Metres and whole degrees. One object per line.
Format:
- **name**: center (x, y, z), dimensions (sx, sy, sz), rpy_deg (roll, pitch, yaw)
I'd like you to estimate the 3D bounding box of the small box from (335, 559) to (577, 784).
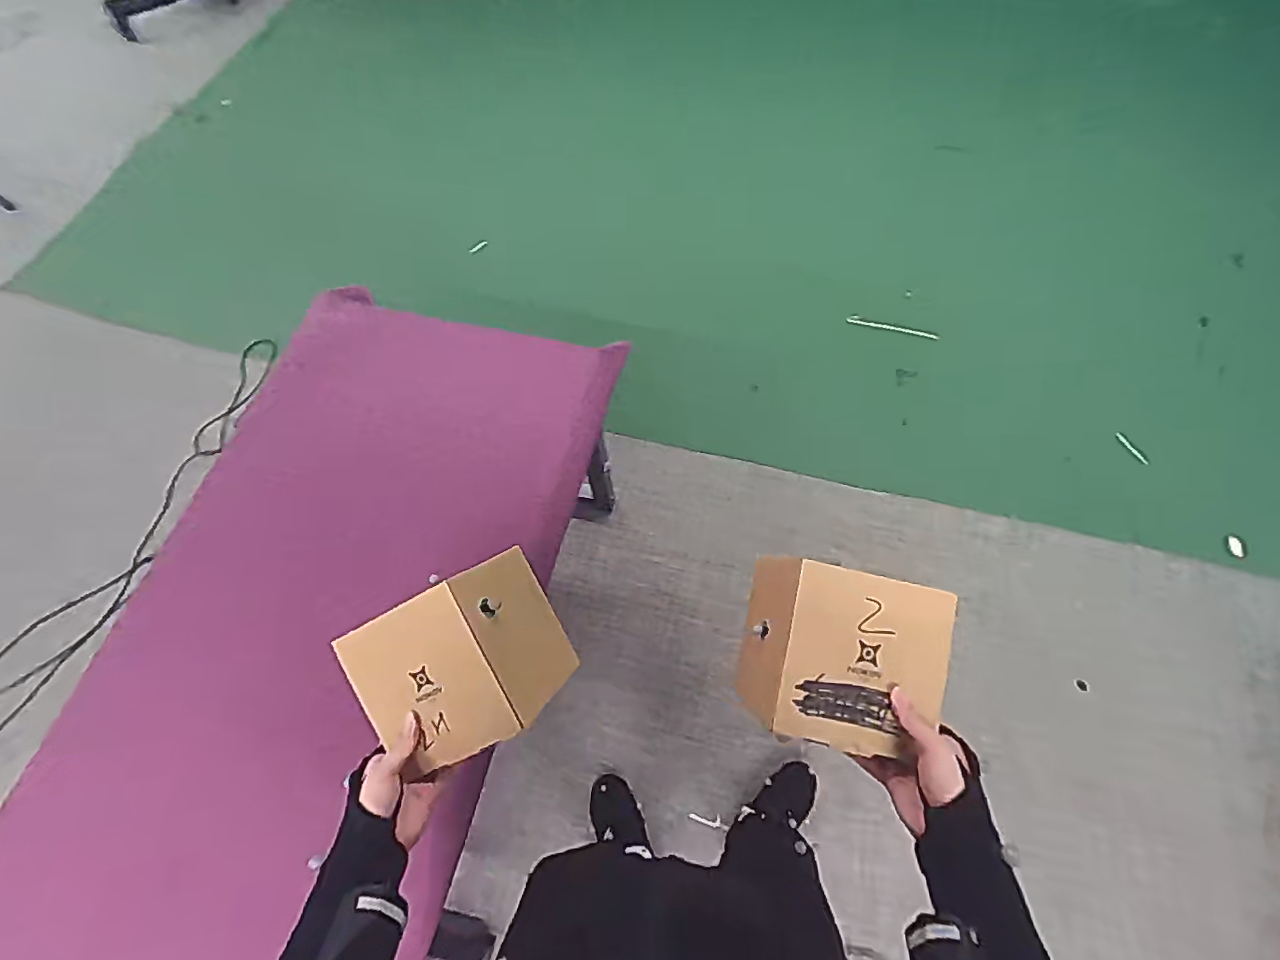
- **small box**: center (-0.201, 0.205, 0.632), dimensions (0.168, 0.176, 0.179), rpy_deg (-27, 88, 14)
